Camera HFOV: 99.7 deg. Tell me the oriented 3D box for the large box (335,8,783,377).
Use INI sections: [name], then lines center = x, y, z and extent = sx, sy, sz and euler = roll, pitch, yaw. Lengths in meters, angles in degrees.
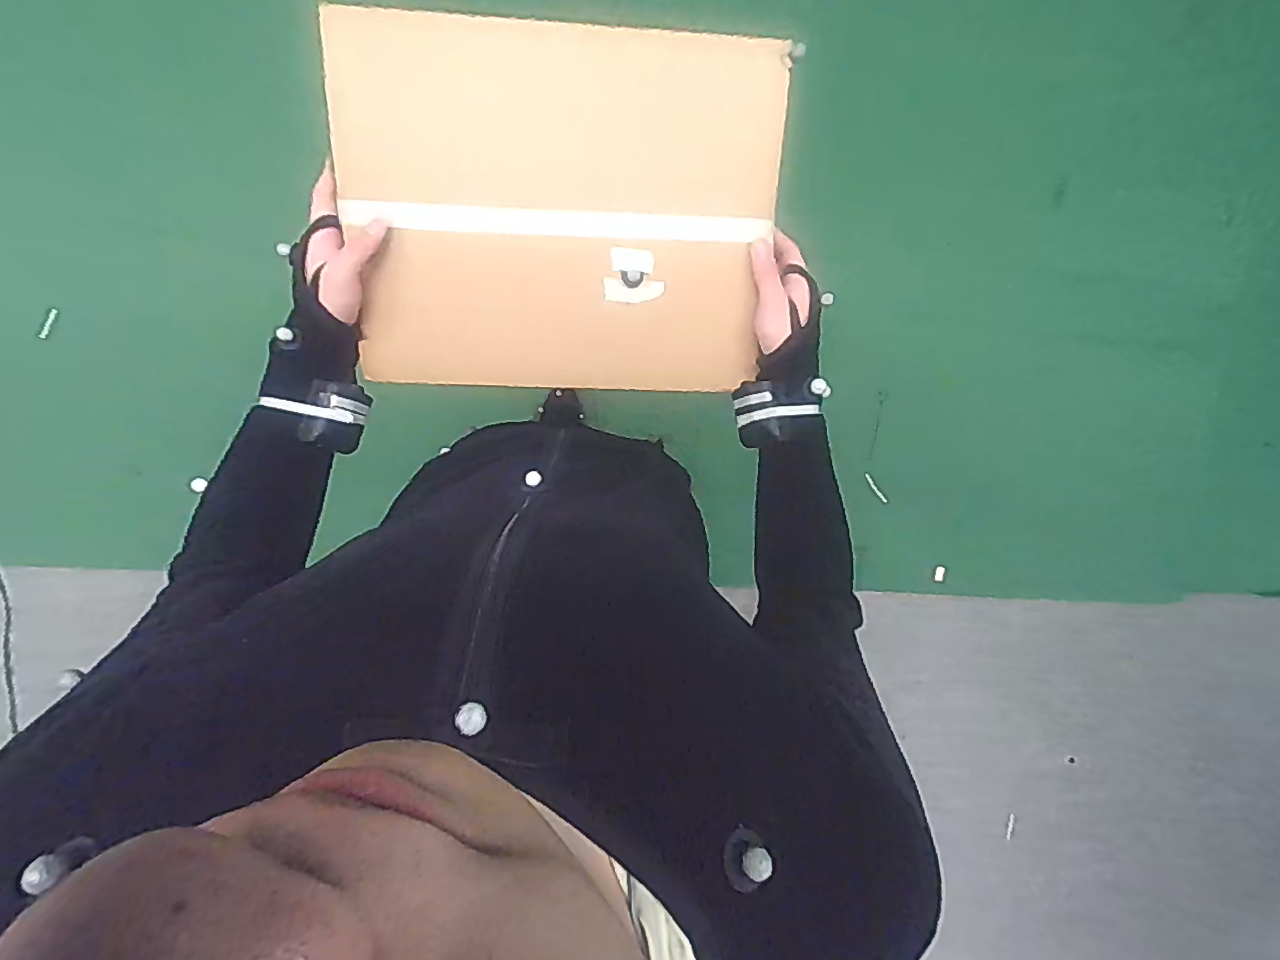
[large box]
center = -0.082, -0.301, 0.663
extent = 0.408, 0.320, 0.320
euler = 1, 108, -5
